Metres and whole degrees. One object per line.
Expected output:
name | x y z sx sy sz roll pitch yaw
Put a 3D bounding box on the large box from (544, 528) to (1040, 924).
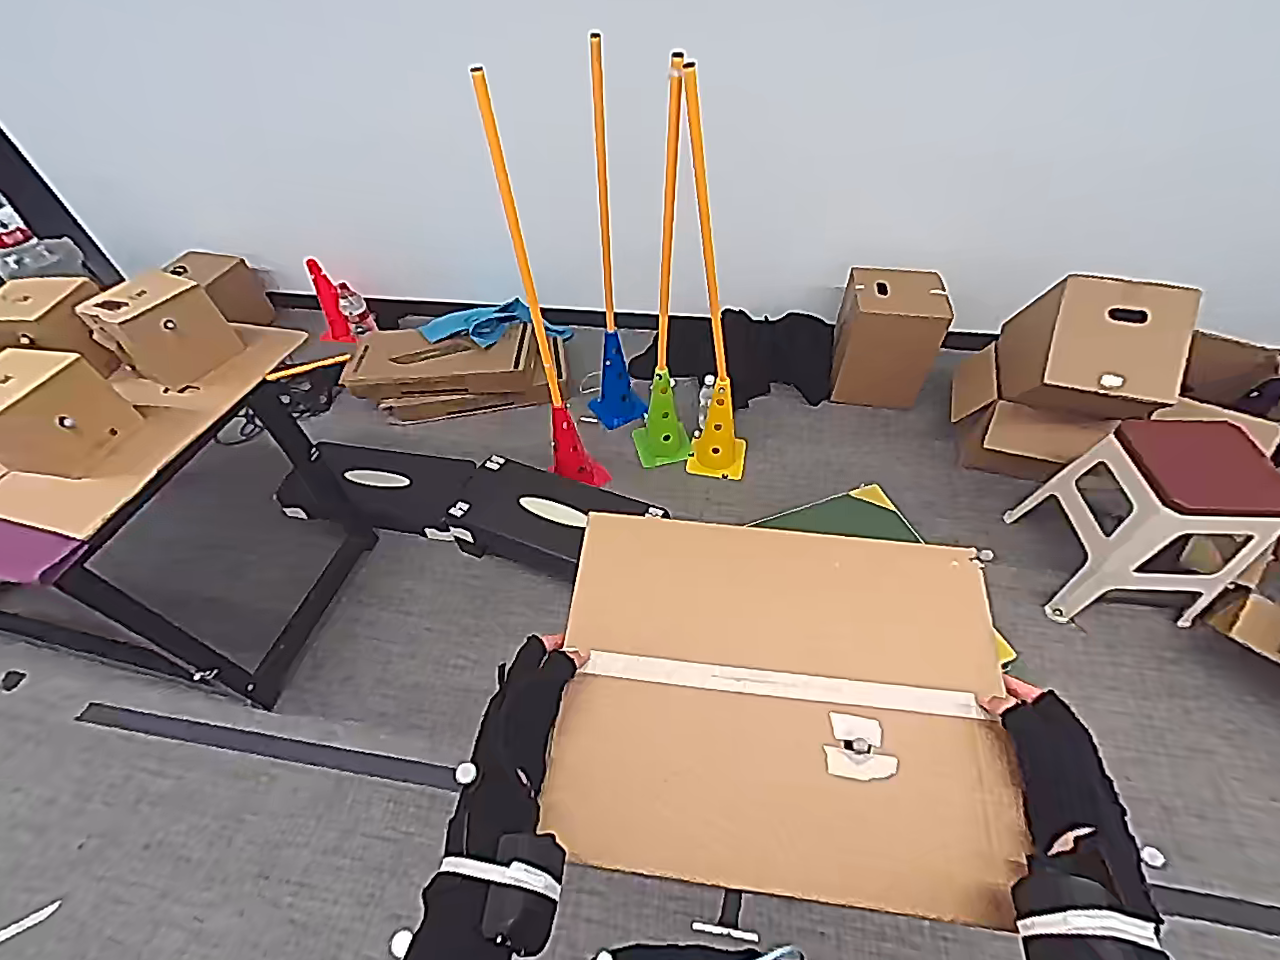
large box | 0.132 0.274 0.634 0.408 0.320 0.320 5 61 4
